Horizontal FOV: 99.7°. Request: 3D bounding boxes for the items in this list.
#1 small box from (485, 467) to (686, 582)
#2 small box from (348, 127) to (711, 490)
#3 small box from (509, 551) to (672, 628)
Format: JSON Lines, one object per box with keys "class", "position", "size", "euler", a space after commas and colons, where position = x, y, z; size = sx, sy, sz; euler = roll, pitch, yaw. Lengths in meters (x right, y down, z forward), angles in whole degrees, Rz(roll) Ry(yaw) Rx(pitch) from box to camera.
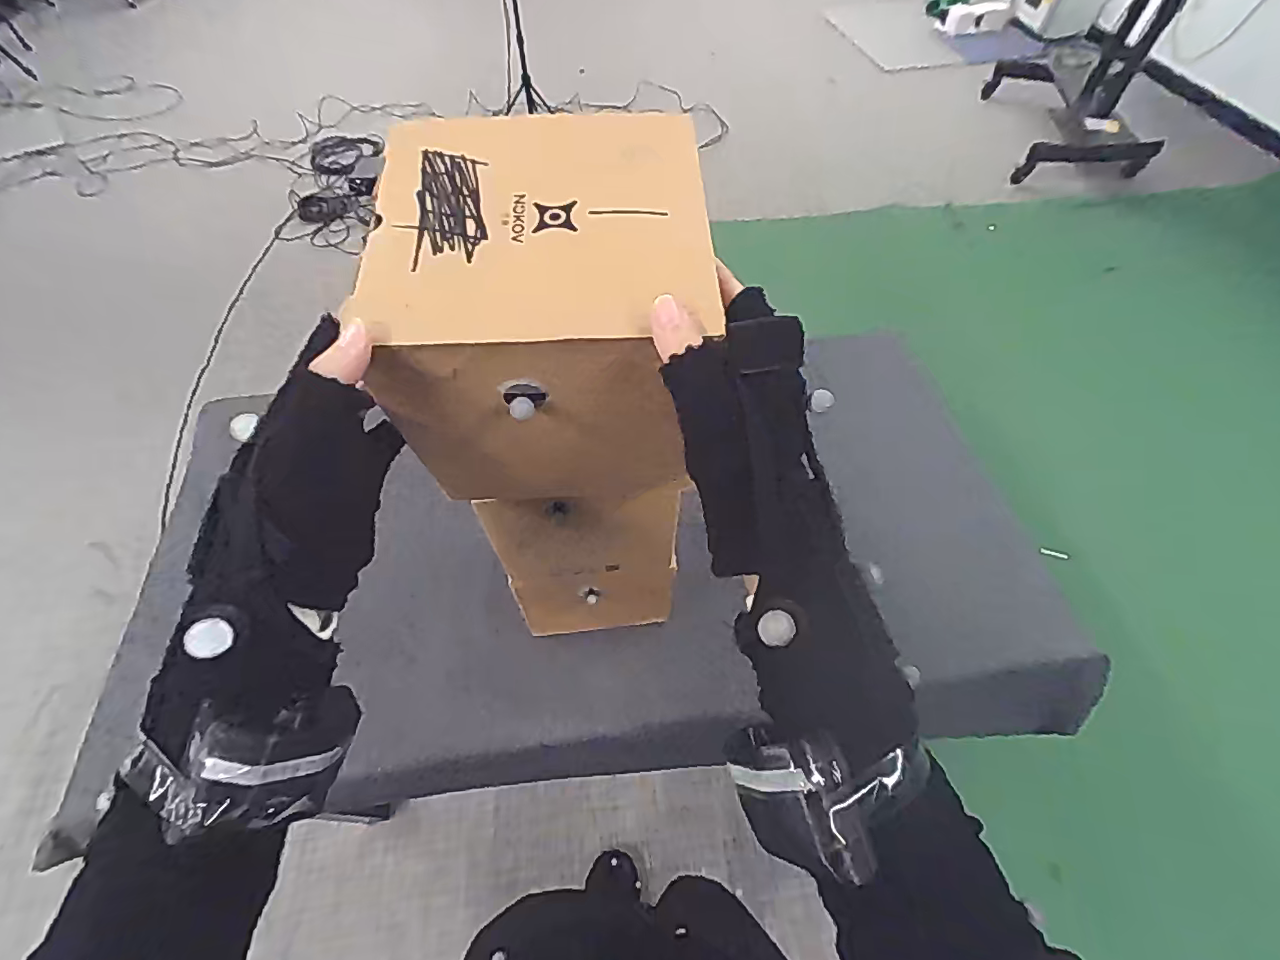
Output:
{"class": "small box", "position": [-0.056, -0.016, 0.546], "size": [0.168, 0.176, 0.179], "euler": [-6, 58, -6]}
{"class": "small box", "position": [-0.055, -0.100, 0.361], "size": [0.179, 0.176, 0.168], "euler": [-2, 64, -2]}
{"class": "small box", "position": [-0.060, 0.076, 0.679], "size": [0.179, 0.176, 0.168], "euler": [-5, 57, -5]}
